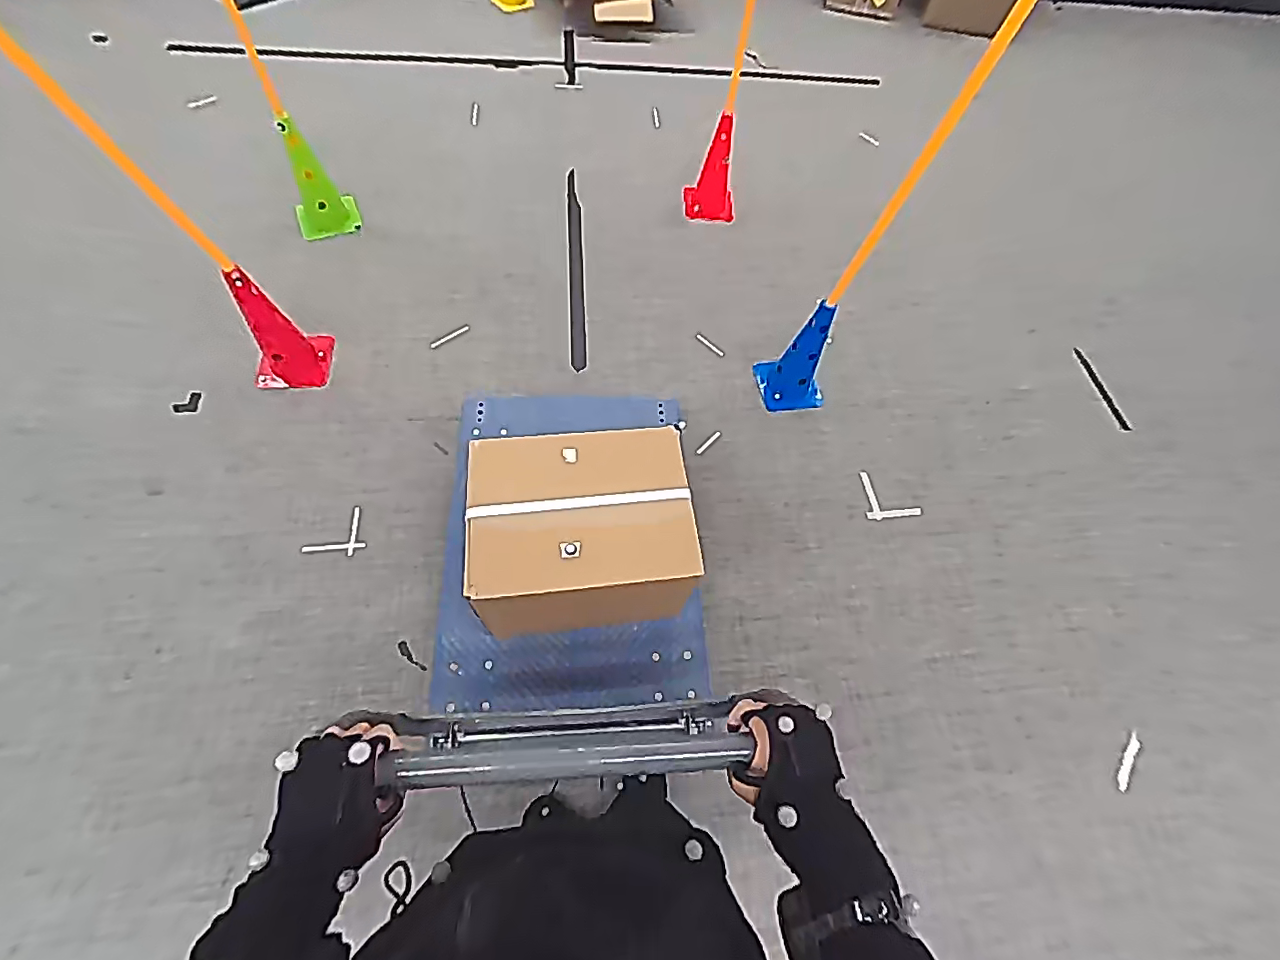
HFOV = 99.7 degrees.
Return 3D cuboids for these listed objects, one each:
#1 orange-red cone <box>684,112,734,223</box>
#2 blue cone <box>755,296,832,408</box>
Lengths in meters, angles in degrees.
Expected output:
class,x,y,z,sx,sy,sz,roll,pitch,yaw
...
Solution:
class,x,y,z,sx,sy,sz,roll,pitch,yaw
orange-red cone,0.296,-1.196,2.042,0.199,0.360,0.198,4,62,-5
blue cone,0.503,-0.399,1.653,0.193,0.380,0.192,-6,62,-9
